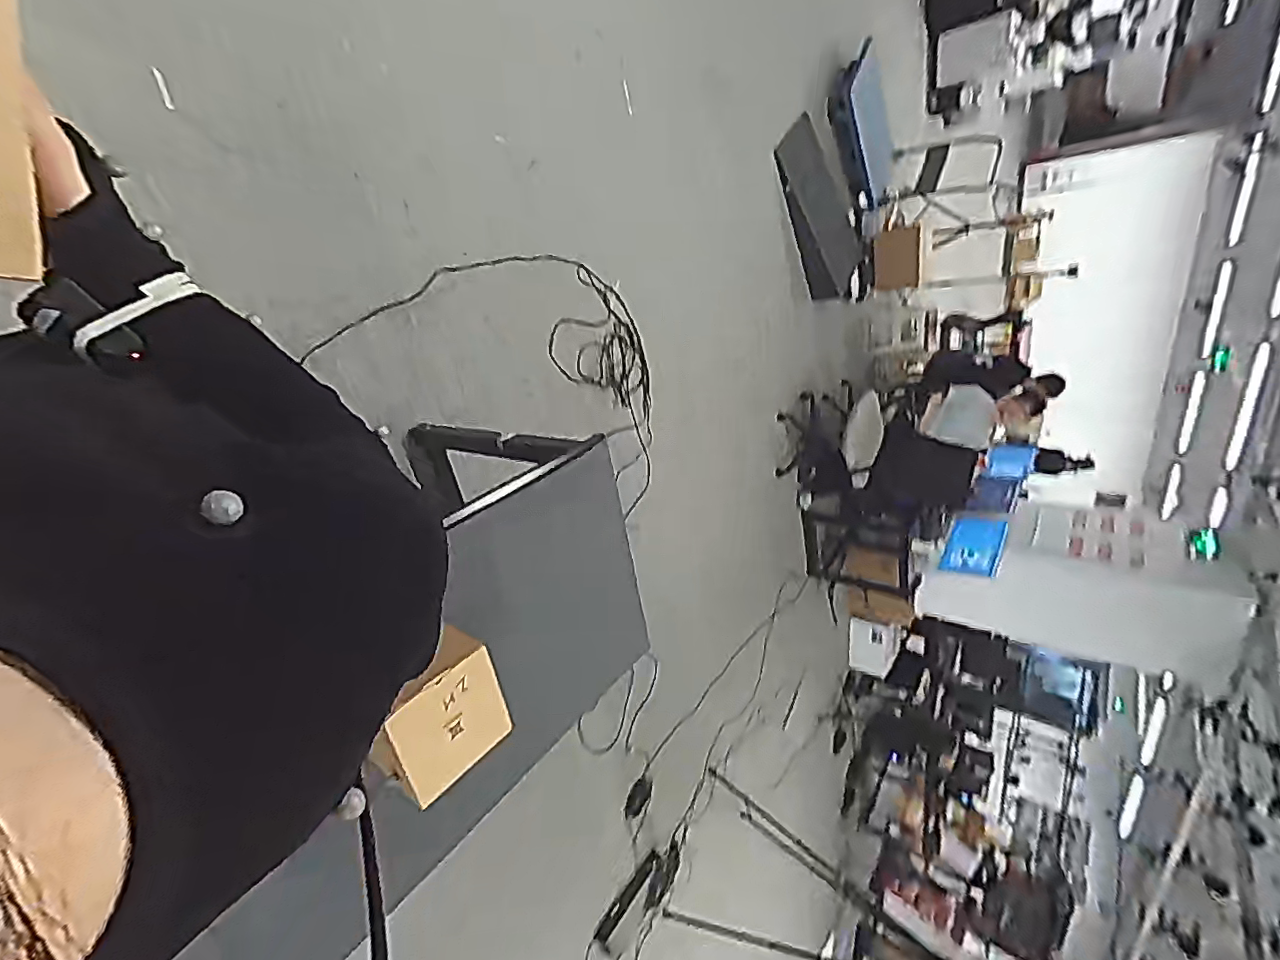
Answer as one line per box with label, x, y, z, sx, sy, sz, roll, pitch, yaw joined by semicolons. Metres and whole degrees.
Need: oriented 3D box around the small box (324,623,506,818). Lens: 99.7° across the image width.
small box;-0.335;0.346;0.812;0.168;0.176;0.179;-33;122;-44
